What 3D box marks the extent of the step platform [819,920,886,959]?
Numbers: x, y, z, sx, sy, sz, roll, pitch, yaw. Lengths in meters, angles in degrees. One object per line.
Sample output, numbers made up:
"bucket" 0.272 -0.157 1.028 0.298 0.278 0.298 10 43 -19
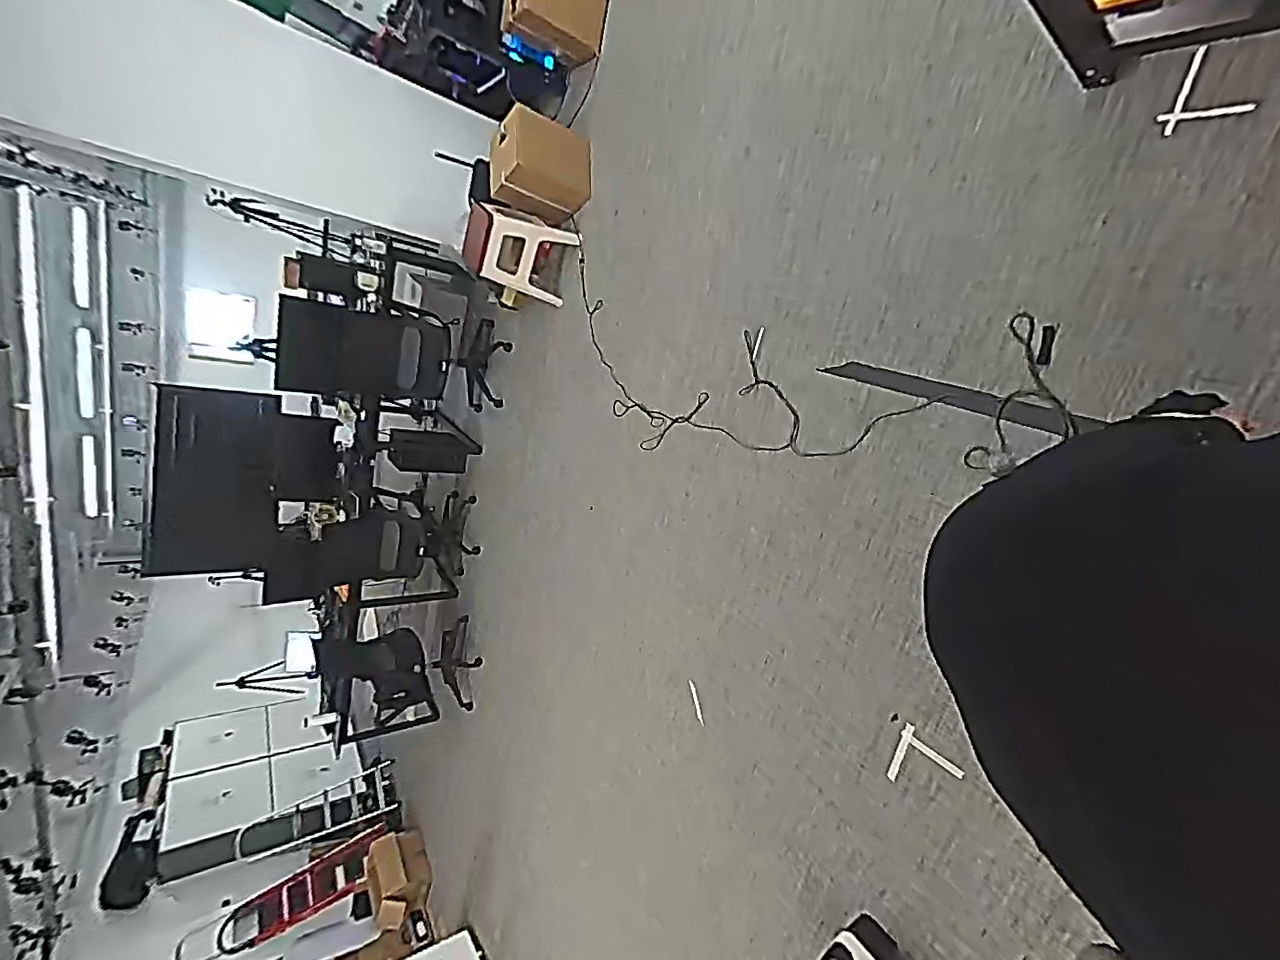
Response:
"step platform" 0.693 1.455 1.243 0.684 0.204 0.286 31 114 48
